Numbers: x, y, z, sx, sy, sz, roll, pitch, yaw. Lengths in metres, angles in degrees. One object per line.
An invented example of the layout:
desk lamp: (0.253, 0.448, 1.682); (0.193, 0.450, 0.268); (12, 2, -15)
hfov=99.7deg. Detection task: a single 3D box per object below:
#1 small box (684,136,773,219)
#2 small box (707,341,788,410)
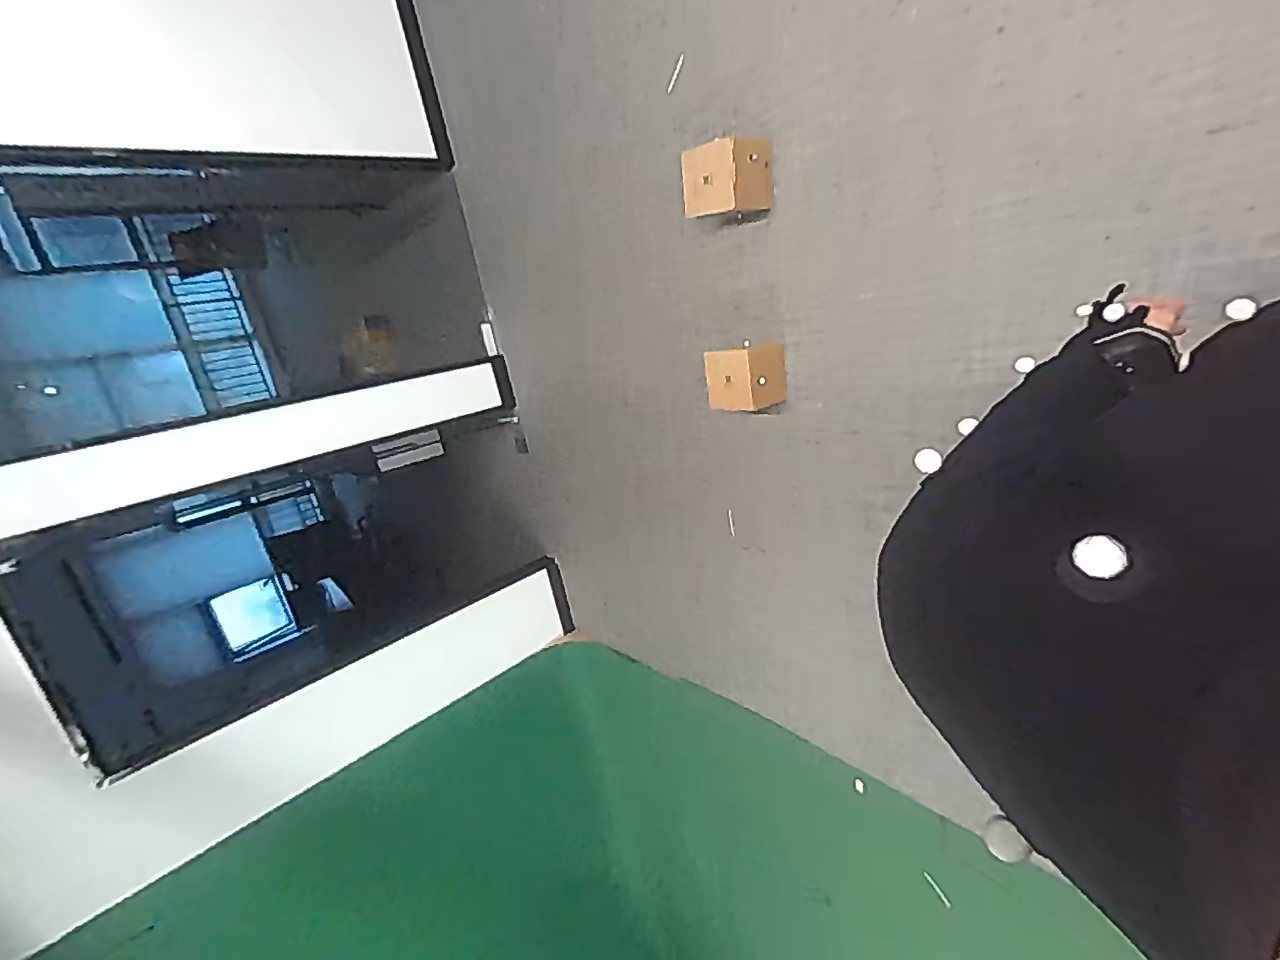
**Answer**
small box: (0.243, -0.808, 1.454); (0.179, 0.176, 0.168); (17, 120, 47)
small box: (0.324, -0.317, 1.616); (0.168, 0.176, 0.179); (11, 118, 48)
